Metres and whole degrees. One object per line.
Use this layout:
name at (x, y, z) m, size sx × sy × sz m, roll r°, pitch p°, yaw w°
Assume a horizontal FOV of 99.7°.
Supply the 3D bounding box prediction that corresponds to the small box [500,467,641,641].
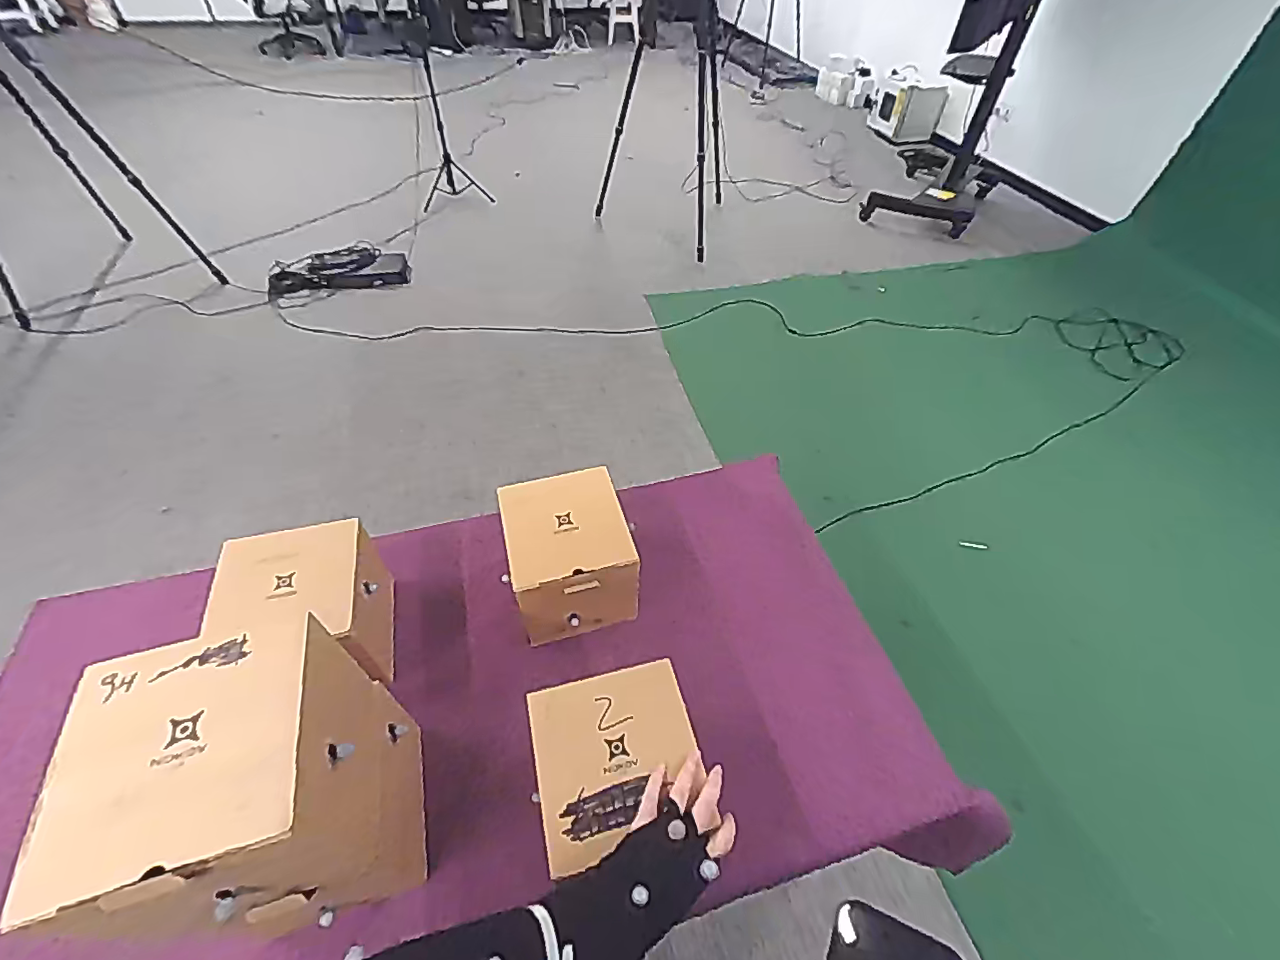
small box at (-0.104, 0.110, 0.804) m, size 0.168 × 0.176 × 0.179 m, roll -12°, pitch 52°, yaw -12°

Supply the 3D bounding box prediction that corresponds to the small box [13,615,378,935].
small box at (-0.335, 0.248, 0.459) m, size 0.168 × 0.176 × 0.179 m, roll -13°, pitch 51°, yaw -13°

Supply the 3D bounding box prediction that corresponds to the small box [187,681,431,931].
small box at (-0.336, 0.352, 0.586) m, size 0.168 × 0.176 × 0.179 m, roll -13°, pitch 51°, yaw -12°

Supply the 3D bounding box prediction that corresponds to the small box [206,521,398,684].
small box at (-0.437, 0.185, 0.730) m, size 0.168 × 0.176 × 0.179 m, roll -10°, pitch 50°, yaw -12°
